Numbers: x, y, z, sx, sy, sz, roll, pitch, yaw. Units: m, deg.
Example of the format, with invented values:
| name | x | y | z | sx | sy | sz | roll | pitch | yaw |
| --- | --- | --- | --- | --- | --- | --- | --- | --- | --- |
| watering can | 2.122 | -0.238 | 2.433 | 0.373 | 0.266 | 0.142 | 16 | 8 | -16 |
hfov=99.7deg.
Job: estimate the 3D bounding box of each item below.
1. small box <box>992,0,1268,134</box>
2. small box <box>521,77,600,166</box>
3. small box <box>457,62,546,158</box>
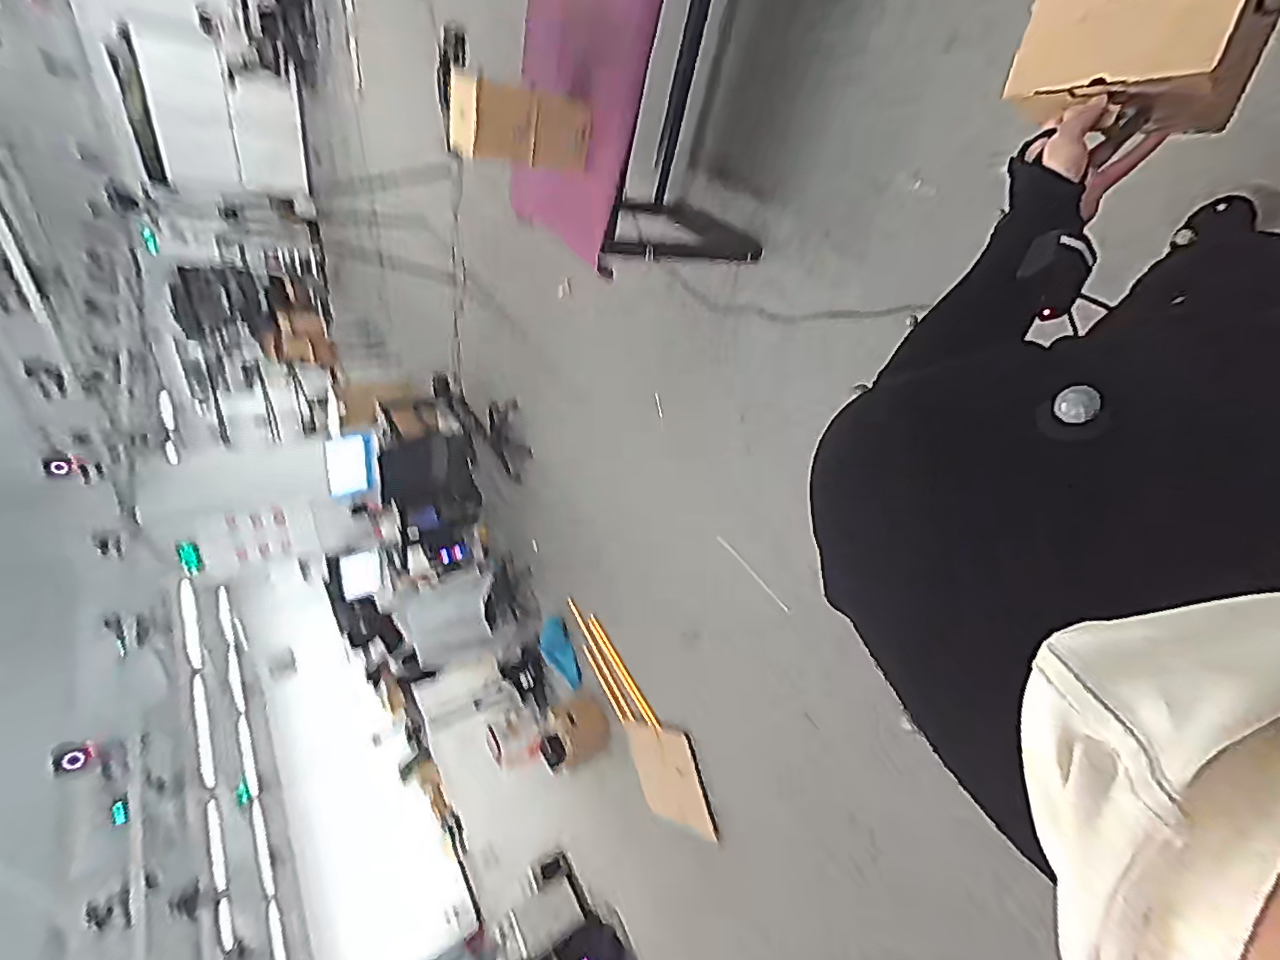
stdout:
| name | x | y | z | sx | sy | sz | roll | pitch | yaw |
| --- | --- | --- | --- | --- | --- | --- | --- | --- | --- |
| small box | 0.497 | -0.464 | 0.540 | 0.168 | 0.176 | 0.179 | 29 | 120 | 44 |
| small box | -0.238 | -1.004 | 1.524 | 0.179 | 0.176 | 0.168 | 49 | 137 | 34 |
| small box | -0.369 | -0.974 | 1.433 | 0.179 | 0.176 | 0.168 | 48 | 136 | 35 |
